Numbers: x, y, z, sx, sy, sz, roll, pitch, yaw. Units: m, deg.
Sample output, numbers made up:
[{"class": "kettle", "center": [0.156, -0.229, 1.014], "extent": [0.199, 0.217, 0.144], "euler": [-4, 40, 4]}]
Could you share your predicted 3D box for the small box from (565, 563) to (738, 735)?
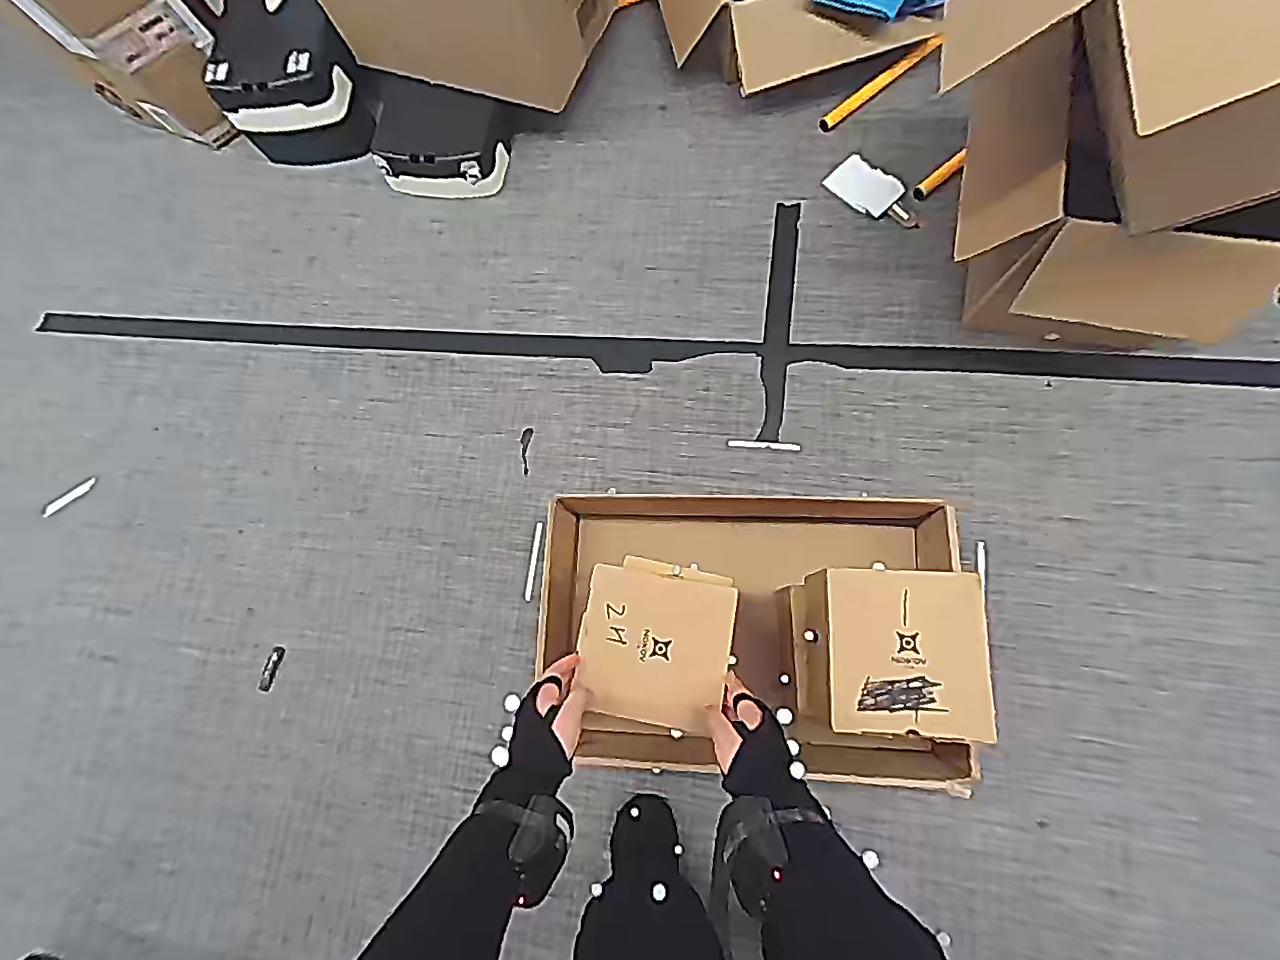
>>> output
[{"class": "small box", "center": [0.022, 0.206, 0.694], "extent": [0.179, 0.176, 0.168], "euler": [9, 78, 8]}]

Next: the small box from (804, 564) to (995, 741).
[{"class": "small box", "center": [0.298, 0.199, 0.658], "extent": [0.168, 0.176, 0.179], "euler": [0, 76, 8]}]

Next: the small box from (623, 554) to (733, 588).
[{"class": "small box", "center": [0.045, 0.226, 0.858], "extent": [0.168, 0.176, 0.179], "euler": [11, 79, 8]}]
